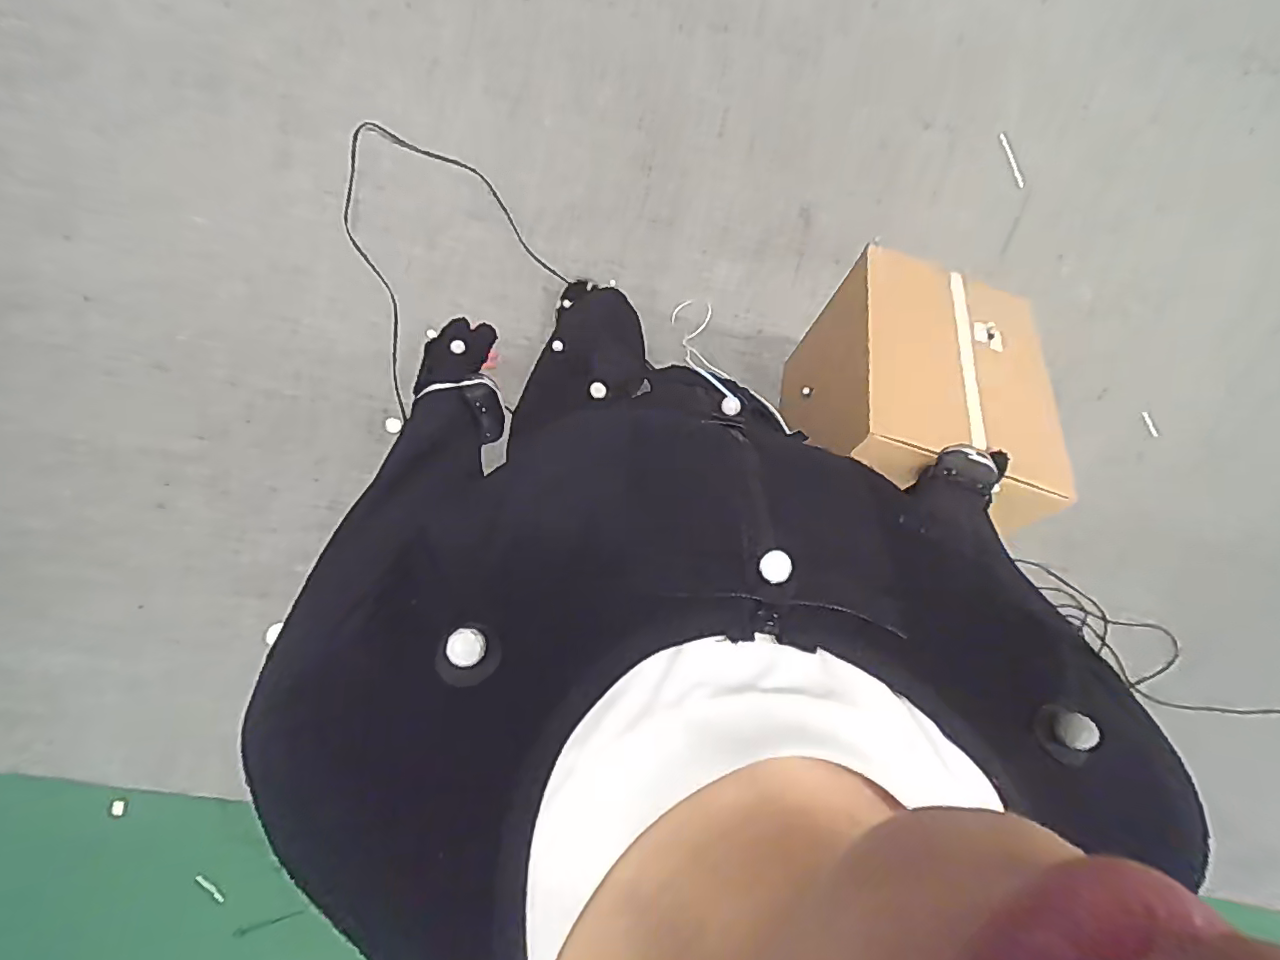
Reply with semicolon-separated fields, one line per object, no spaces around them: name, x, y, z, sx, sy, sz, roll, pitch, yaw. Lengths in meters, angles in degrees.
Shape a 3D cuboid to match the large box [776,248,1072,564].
large box;0.456;-0.114;0.953;0.320;0.320;0.408;18;60;-6
